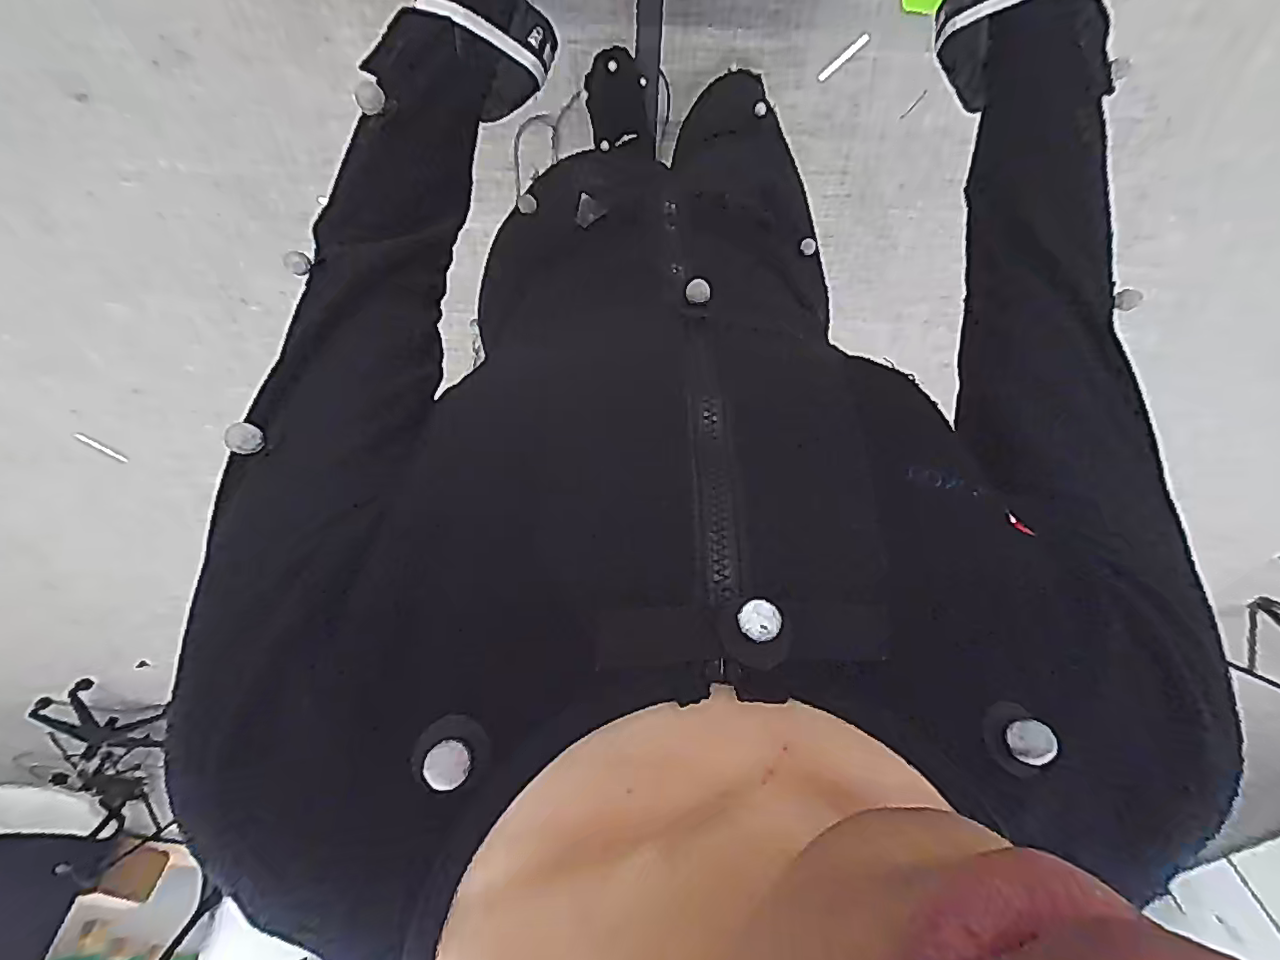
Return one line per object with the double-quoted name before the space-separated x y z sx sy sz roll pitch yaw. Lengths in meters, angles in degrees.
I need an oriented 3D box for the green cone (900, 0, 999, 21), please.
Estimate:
"green cone" 0.600 -0.850 0.844 0.202 0.368 0.200 2 132 -6
